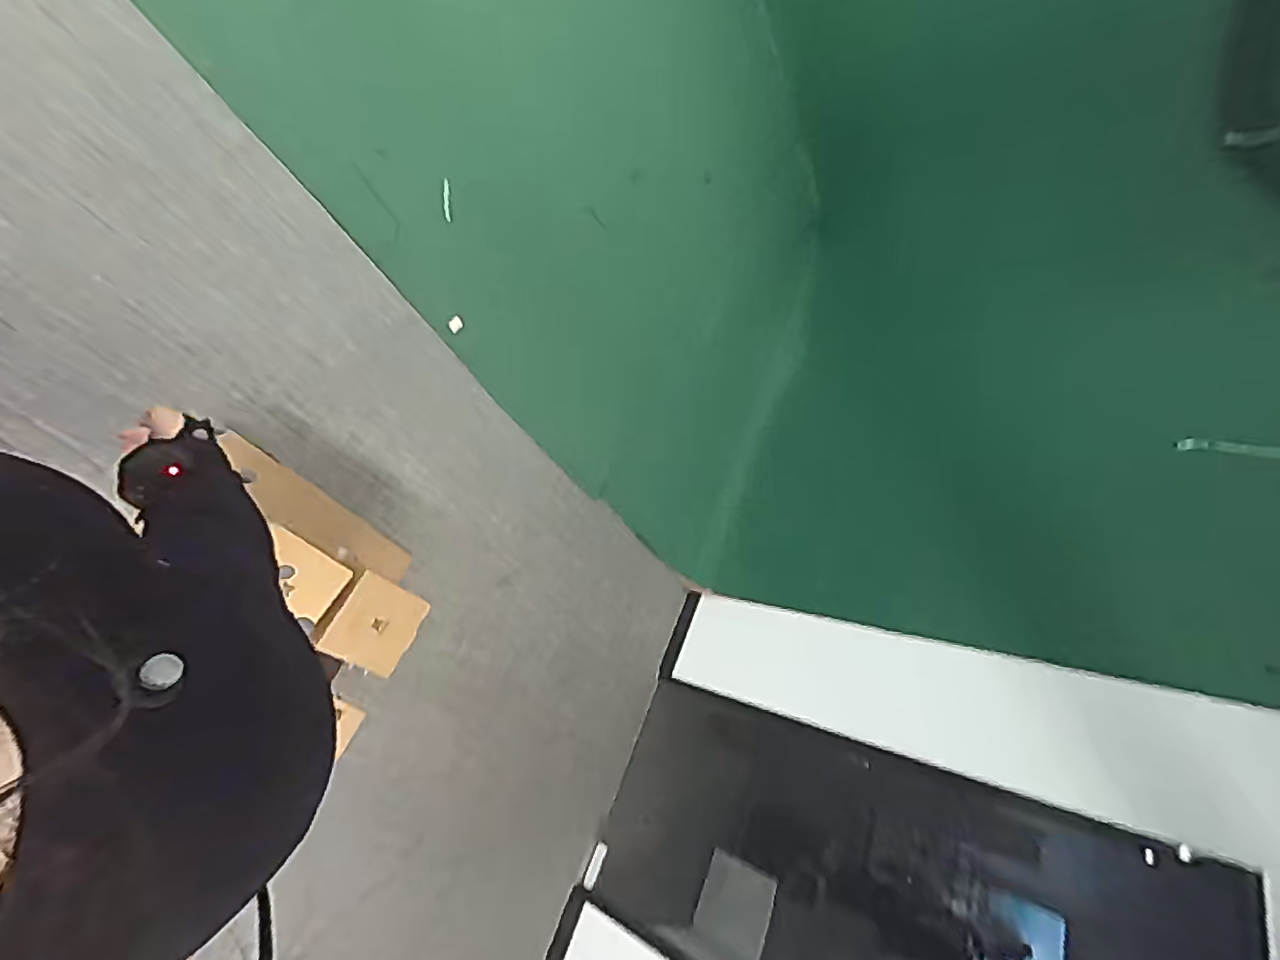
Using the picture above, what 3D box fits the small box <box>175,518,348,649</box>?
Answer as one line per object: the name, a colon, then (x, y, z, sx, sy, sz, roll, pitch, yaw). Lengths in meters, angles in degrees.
small box: (-0.694, 0.183, 0.995, 0.179, 0.176, 0.168, 52, 54, -38)
